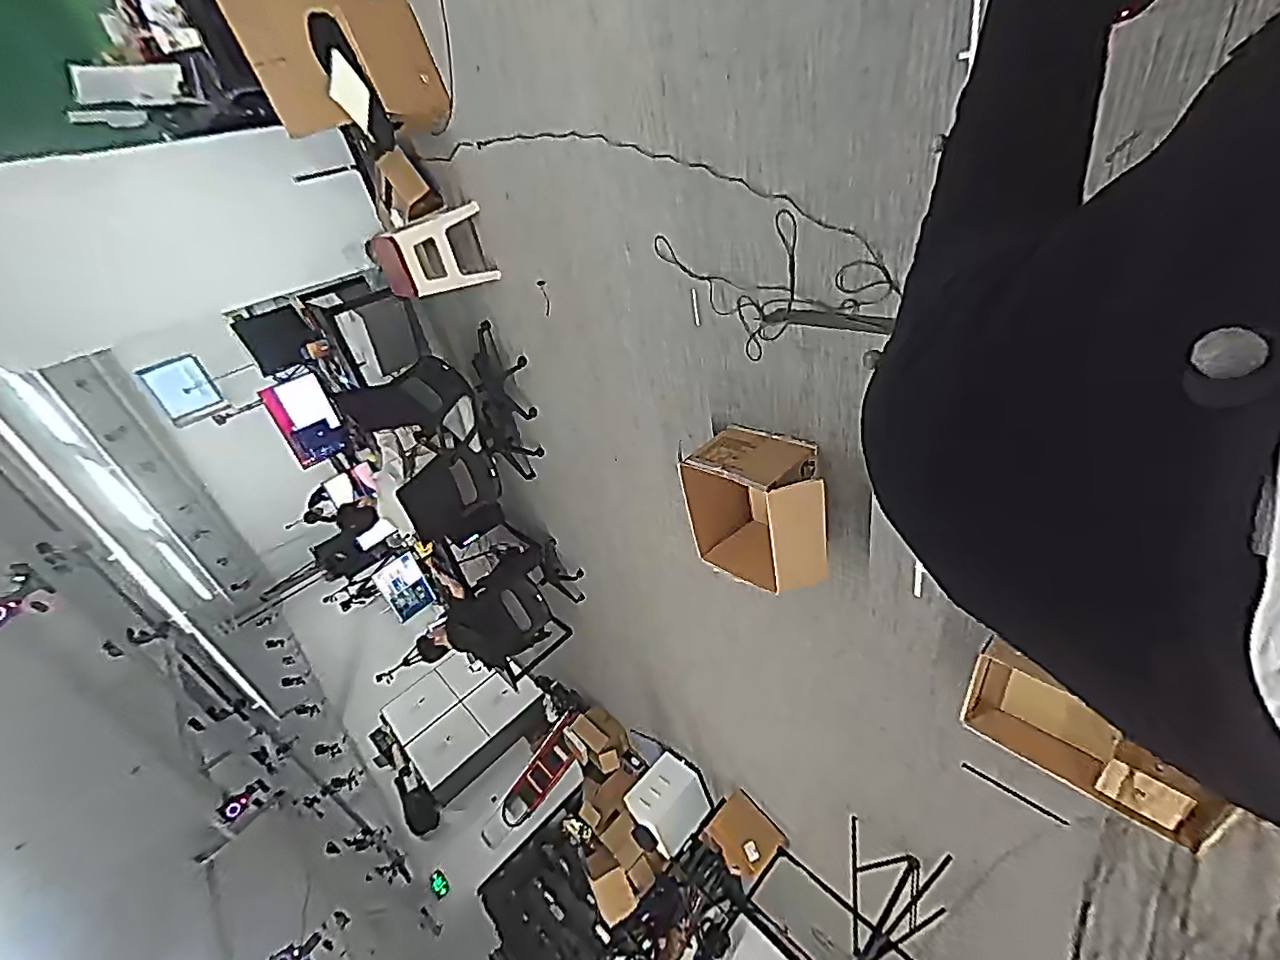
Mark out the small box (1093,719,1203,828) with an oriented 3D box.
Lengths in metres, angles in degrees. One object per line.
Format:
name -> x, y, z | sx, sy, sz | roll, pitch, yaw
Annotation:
small box -> 1.430, 0.818, 1.521 | 0.179, 0.176, 0.168 | 26, 136, 43
